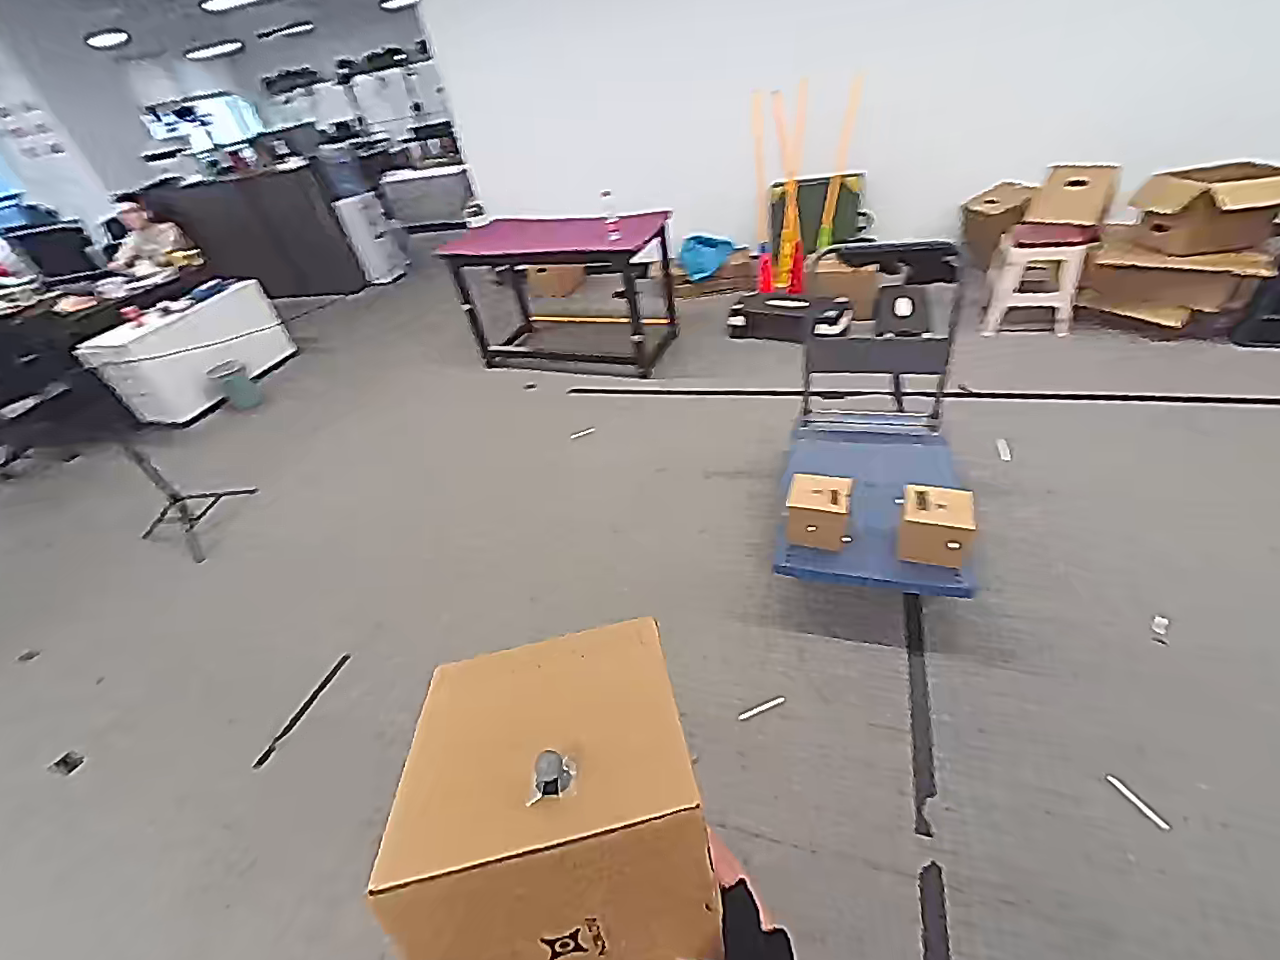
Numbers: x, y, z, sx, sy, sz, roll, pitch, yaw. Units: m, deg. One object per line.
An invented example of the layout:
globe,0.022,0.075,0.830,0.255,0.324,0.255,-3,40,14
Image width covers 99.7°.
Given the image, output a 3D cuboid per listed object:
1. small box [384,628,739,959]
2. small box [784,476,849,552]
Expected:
small box,-0.043,0.231,0.379,0.179,0.168,0.176,-12,22,-3
small box,0.565,0.112,1.734,0.179,0.176,0.168,7,41,22
